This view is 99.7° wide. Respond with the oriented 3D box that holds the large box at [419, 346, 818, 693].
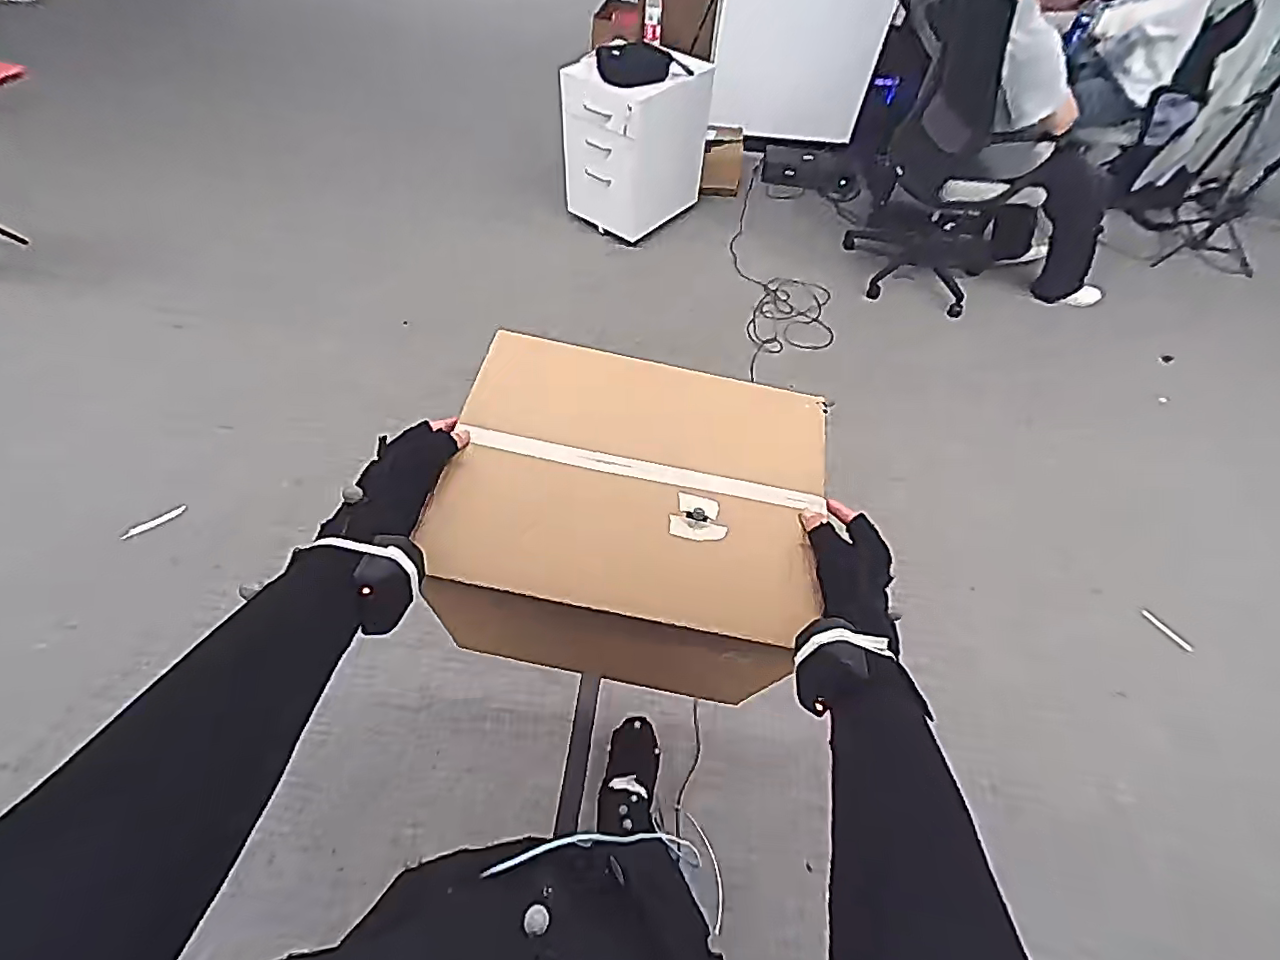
[{"bbox_3d":[-0.018,0.071,0.726,0.408,0.320,0.320,11,60,-1],"label":"large box"}]
